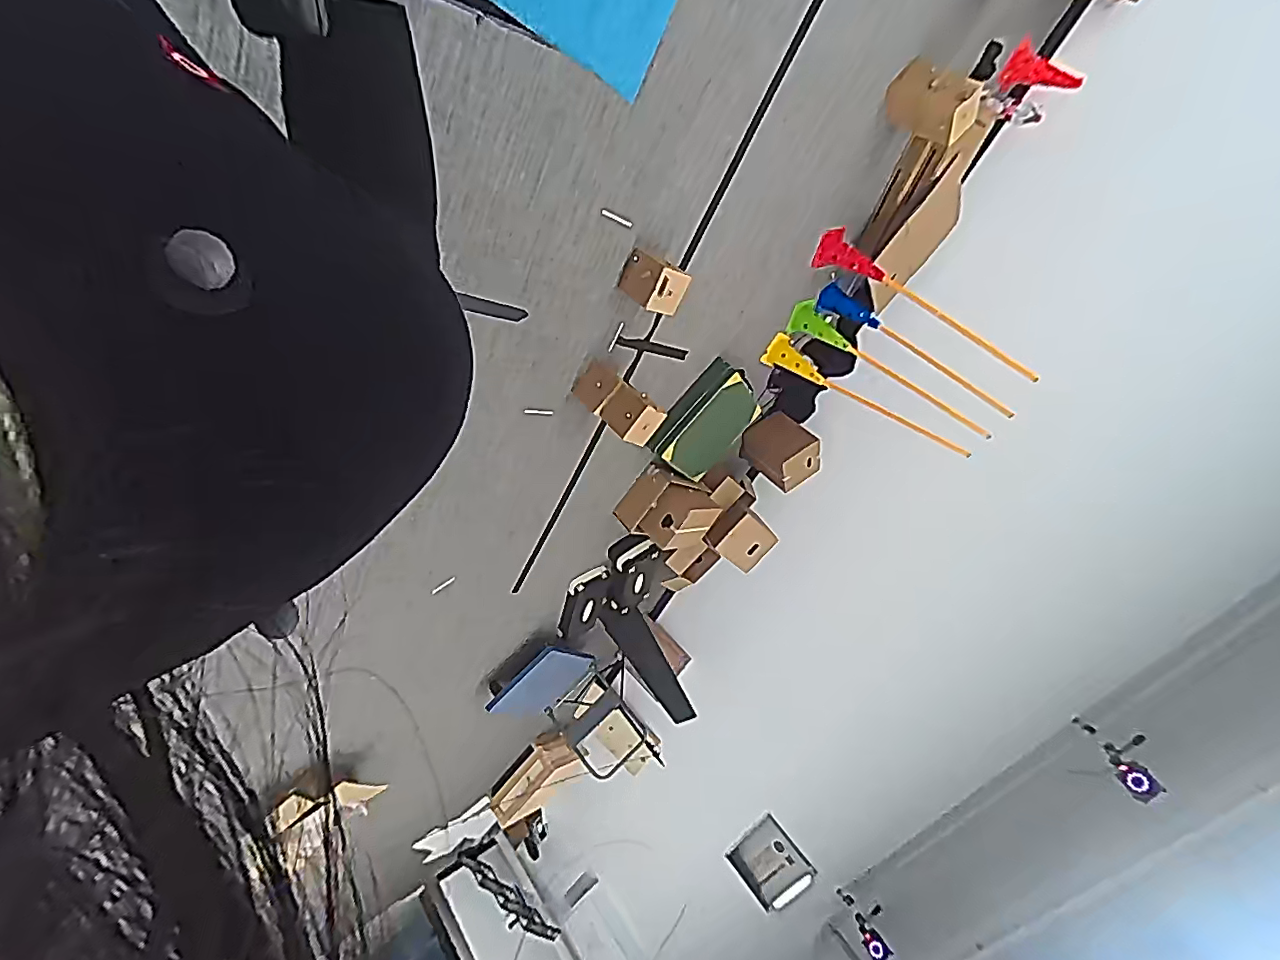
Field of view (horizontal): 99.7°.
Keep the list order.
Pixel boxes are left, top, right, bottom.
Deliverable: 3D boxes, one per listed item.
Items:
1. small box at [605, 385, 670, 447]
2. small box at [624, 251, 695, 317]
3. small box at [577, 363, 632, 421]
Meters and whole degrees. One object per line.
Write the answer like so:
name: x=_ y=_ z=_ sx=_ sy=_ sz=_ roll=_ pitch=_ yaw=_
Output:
small box: x=-0.015 y=-0.266 z=2.237 sx=0.179 sy=0.176 sz=0.168 roll=-51 pitch=151 yaw=14
small box: x=0.069 y=-0.745 z=2.049 sx=0.179 sy=0.176 sz=0.168 roll=-8 pitch=135 yaw=-50
small box: x=-0.135 y=-0.367 z=2.293 sx=0.179 sy=0.176 sz=0.168 roll=-50 pitch=153 yaw=13
